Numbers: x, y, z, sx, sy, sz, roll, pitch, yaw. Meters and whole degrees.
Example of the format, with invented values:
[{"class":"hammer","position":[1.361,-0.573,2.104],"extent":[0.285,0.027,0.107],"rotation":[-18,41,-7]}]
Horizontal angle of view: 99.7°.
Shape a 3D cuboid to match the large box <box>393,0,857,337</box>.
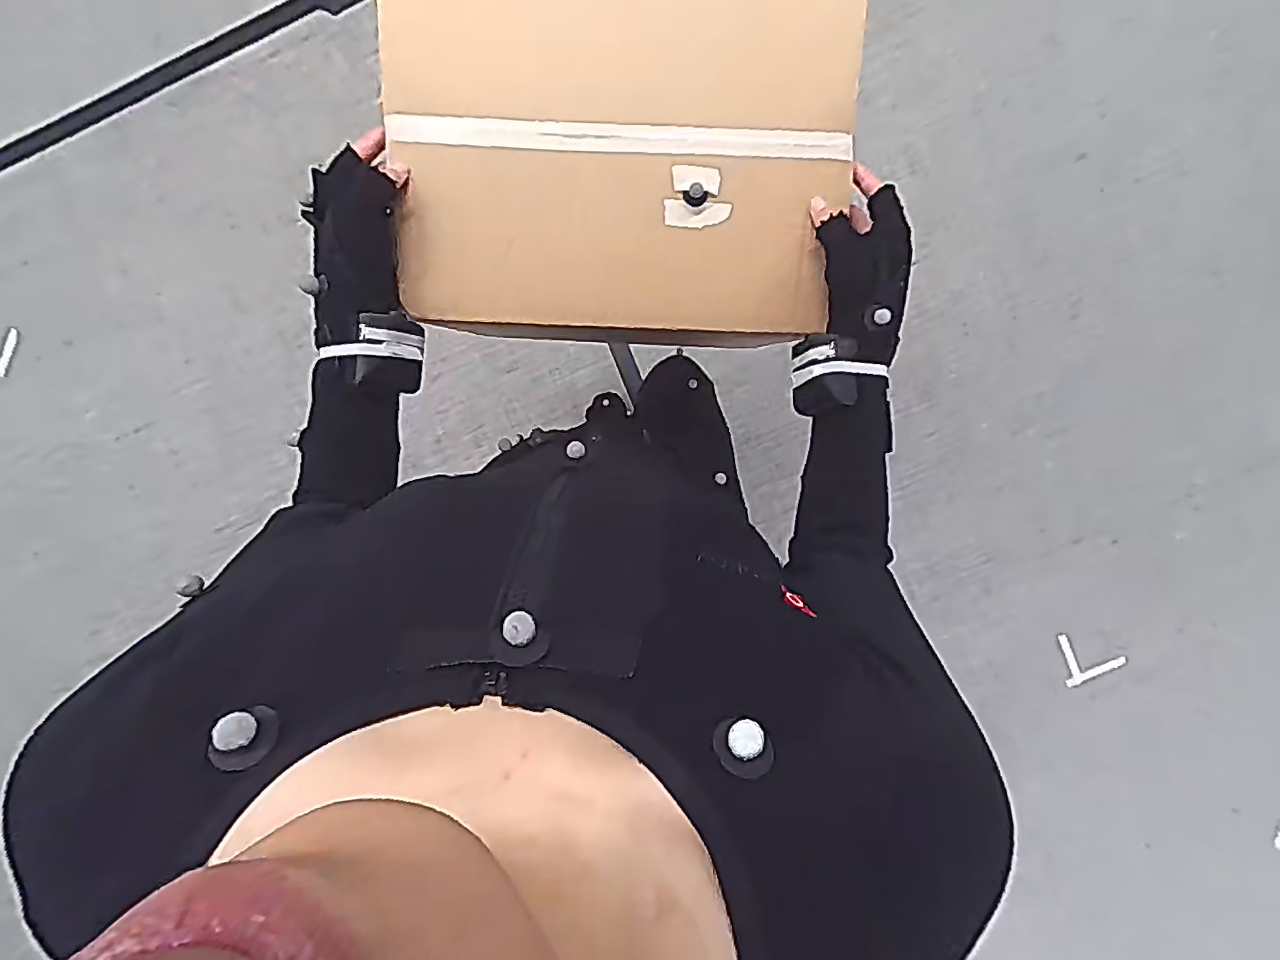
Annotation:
[{"class":"large box","position":[-0.019,-0.338,0.626],"extent":[0.408,0.320,0.320],"rotation":[2,102,-2]}]
